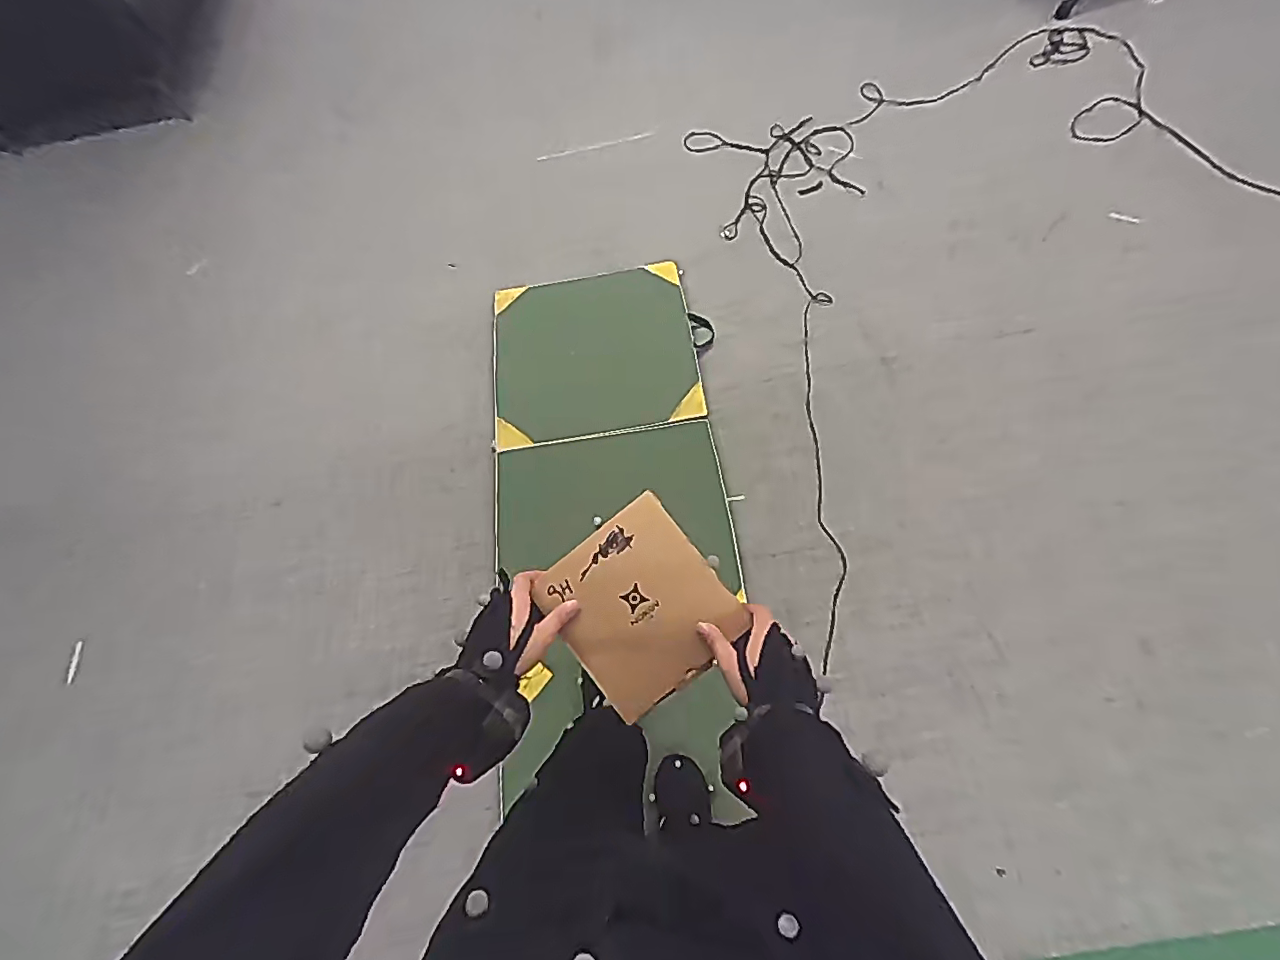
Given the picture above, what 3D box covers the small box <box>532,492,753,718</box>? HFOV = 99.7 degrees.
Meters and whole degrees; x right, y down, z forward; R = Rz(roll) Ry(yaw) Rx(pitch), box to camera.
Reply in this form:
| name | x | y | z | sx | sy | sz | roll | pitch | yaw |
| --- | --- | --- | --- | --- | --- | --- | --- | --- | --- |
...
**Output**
| name | x | y | z | sx | sy | sz | roll | pitch | yaw |
| --- | --- | --- | --- | --- | --- | --- | --- | --- | --- |
| small box | 0.008 | 0.134 | 0.633 | 0.168 | 0.176 | 0.179 | -38 | 81 | -1 |
